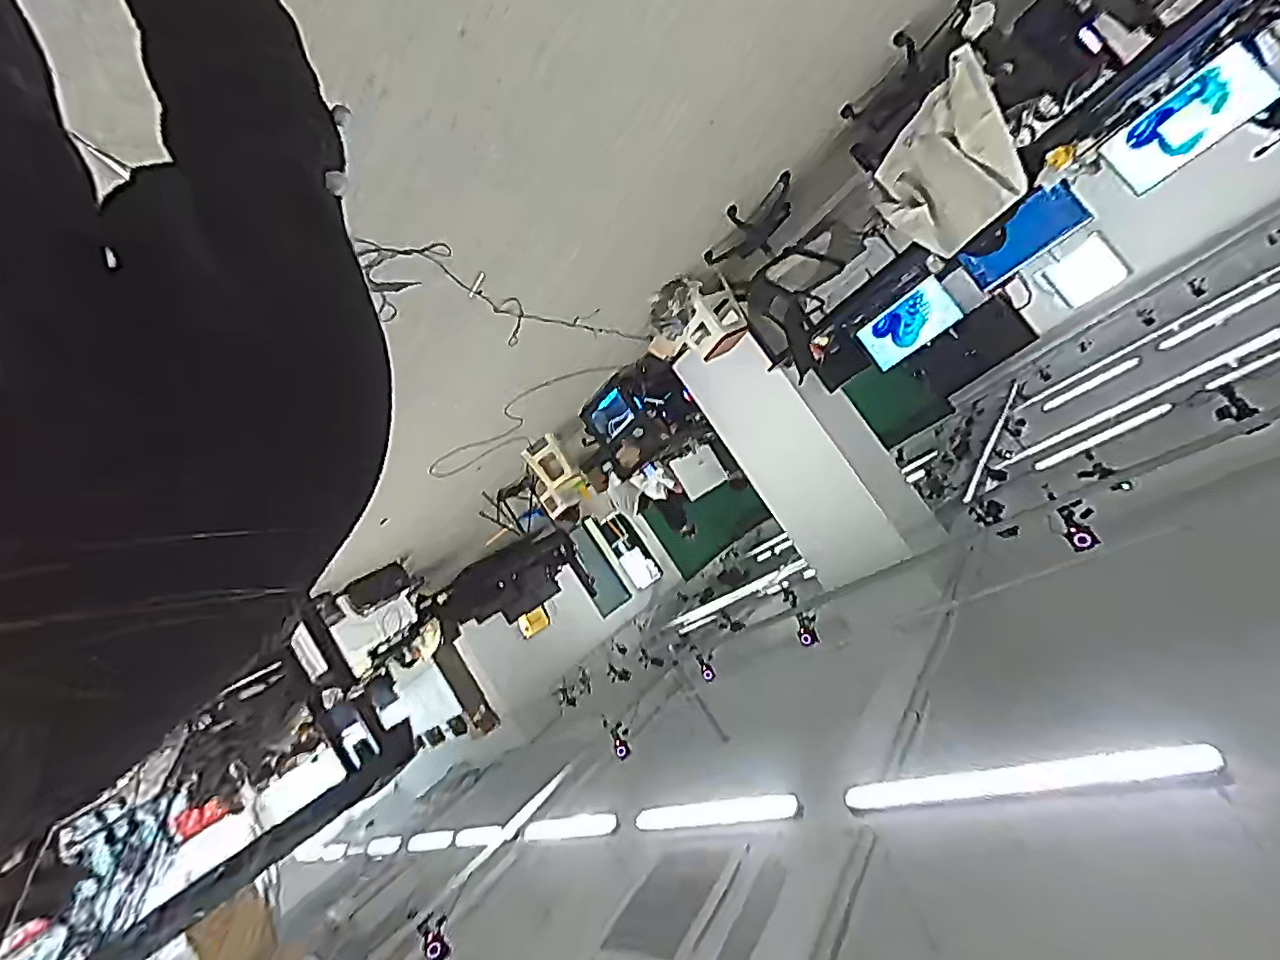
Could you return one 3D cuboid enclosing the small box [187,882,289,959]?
[{"bbox_3d":[-1.117,1.255,1.498,0.179,0.176,0.168,-36,174,39],"label":"small box"}]

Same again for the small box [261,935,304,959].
[{"bbox_3d":[-1.030,1.394,1.484,0.179,0.176,0.168,-37,173,36],"label":"small box"}]
